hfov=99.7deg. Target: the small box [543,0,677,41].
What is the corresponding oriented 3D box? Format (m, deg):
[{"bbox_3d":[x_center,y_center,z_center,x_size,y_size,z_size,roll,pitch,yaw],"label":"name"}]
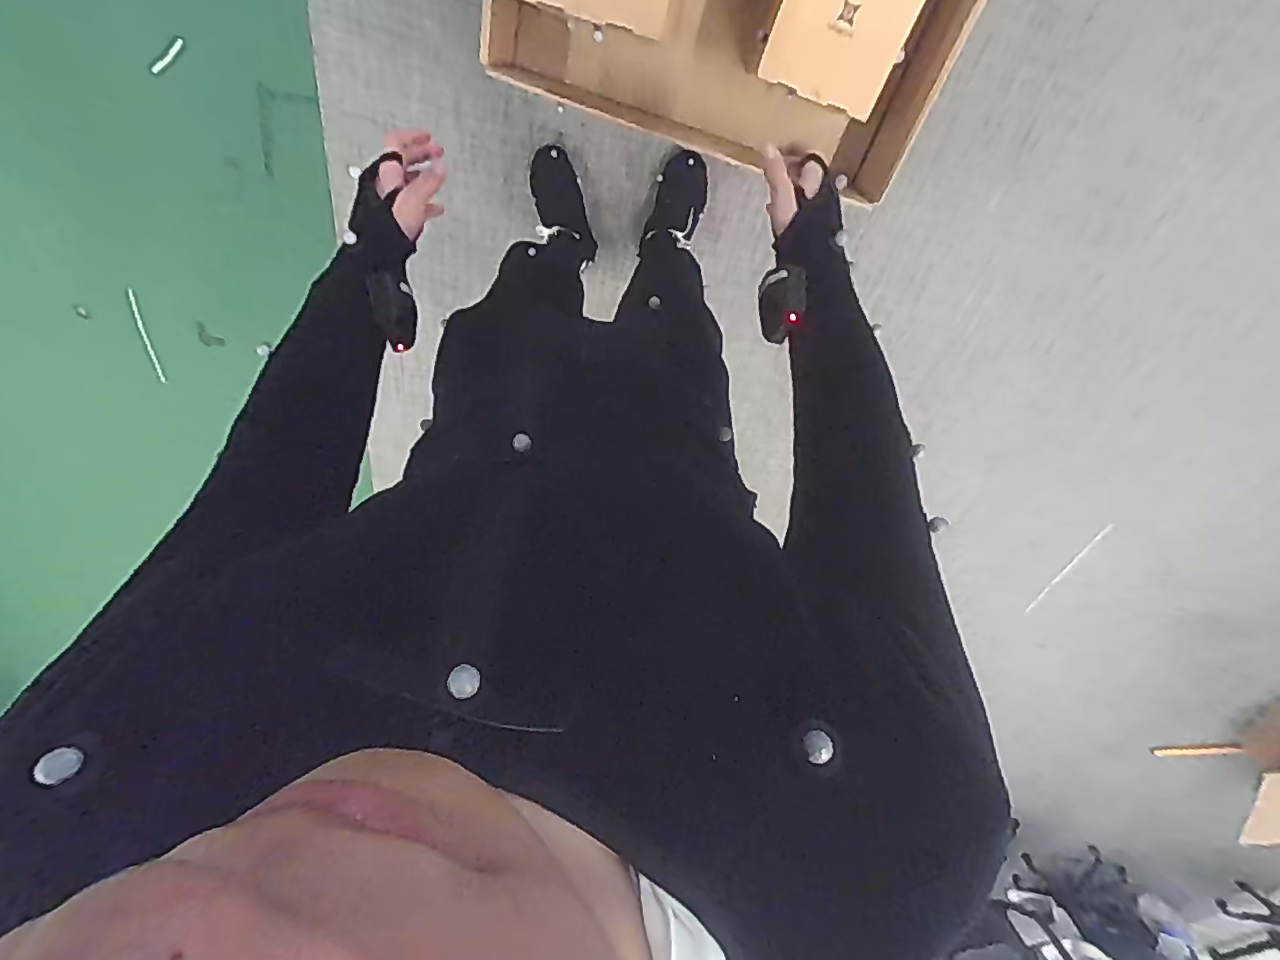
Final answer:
[{"bbox_3d":[-0.029,-0.595,0.566,0.168,0.176,0.179,14,127,-5],"label":"small box"}]
